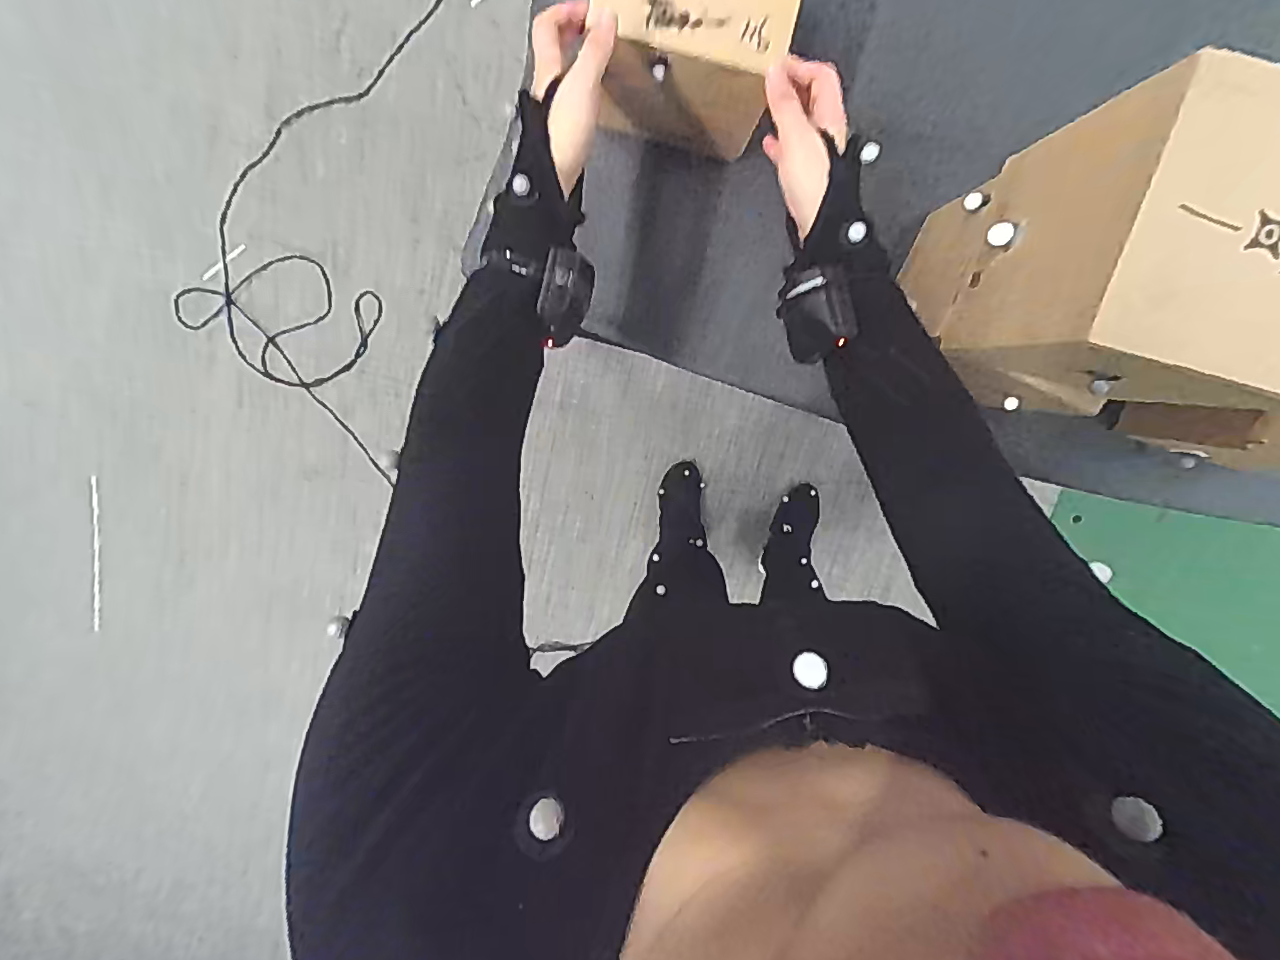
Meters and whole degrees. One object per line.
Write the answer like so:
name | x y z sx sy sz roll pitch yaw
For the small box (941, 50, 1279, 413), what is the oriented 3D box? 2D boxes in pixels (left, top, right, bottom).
small box | 0.367 -0.155 0.394 0.179 0.176 0.168 14 101 -2

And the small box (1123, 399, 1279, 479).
small box | 0.676 -0.098 0.569 0.168 0.176 0.179 15 101 -1

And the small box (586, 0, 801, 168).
small box | 0.051 -0.432 0.506 0.168 0.176 0.179 13 100 -4
